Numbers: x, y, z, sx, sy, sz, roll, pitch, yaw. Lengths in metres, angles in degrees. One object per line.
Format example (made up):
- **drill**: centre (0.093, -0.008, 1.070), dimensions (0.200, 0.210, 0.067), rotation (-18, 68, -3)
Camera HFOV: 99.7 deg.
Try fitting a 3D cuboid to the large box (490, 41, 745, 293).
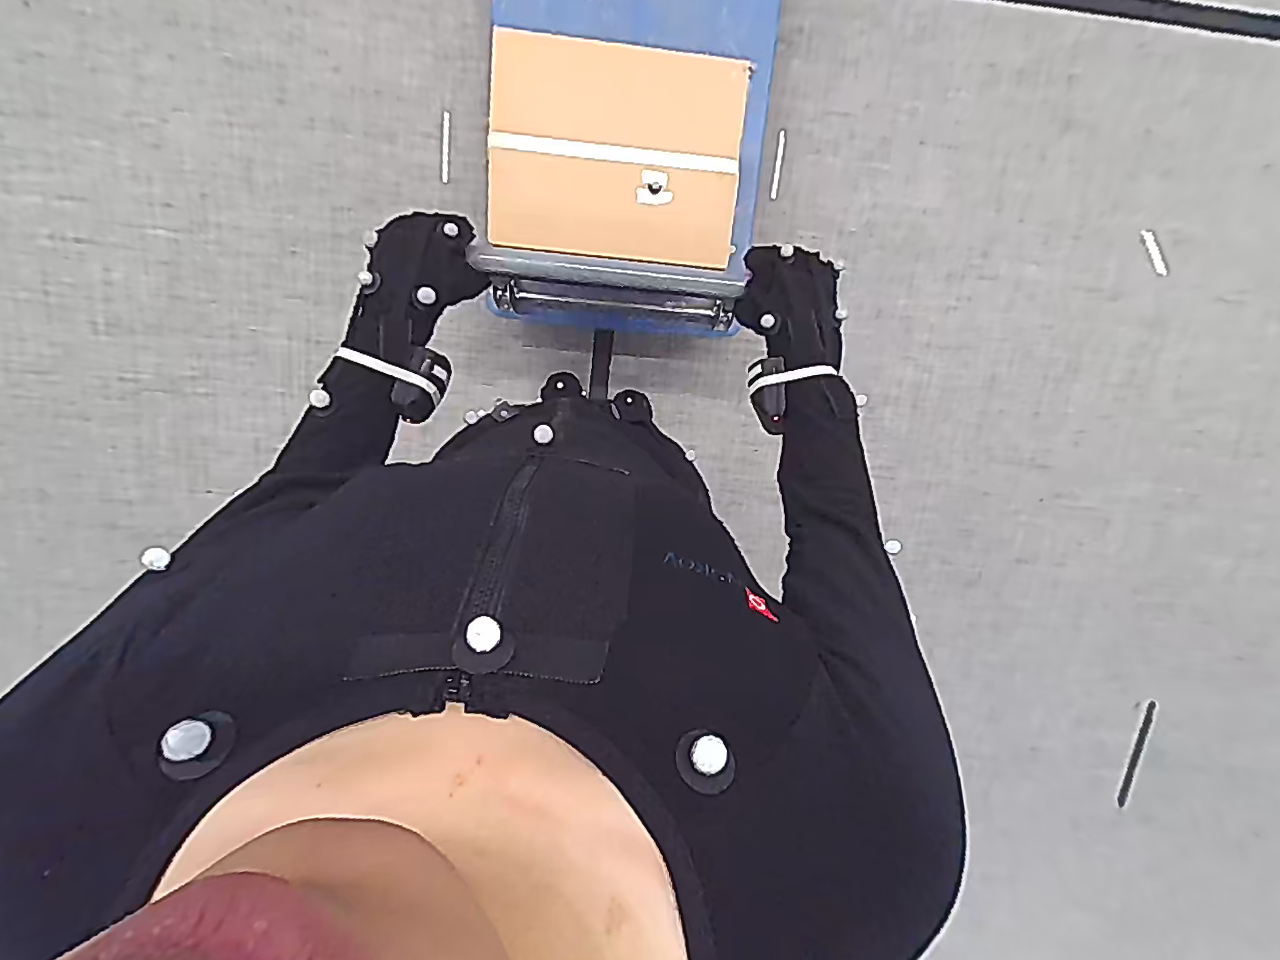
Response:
- **large box**: centre (-0.051, -0.545, 1.018), dimensions (0.408, 0.320, 0.320), rotation (4, 103, -5)
